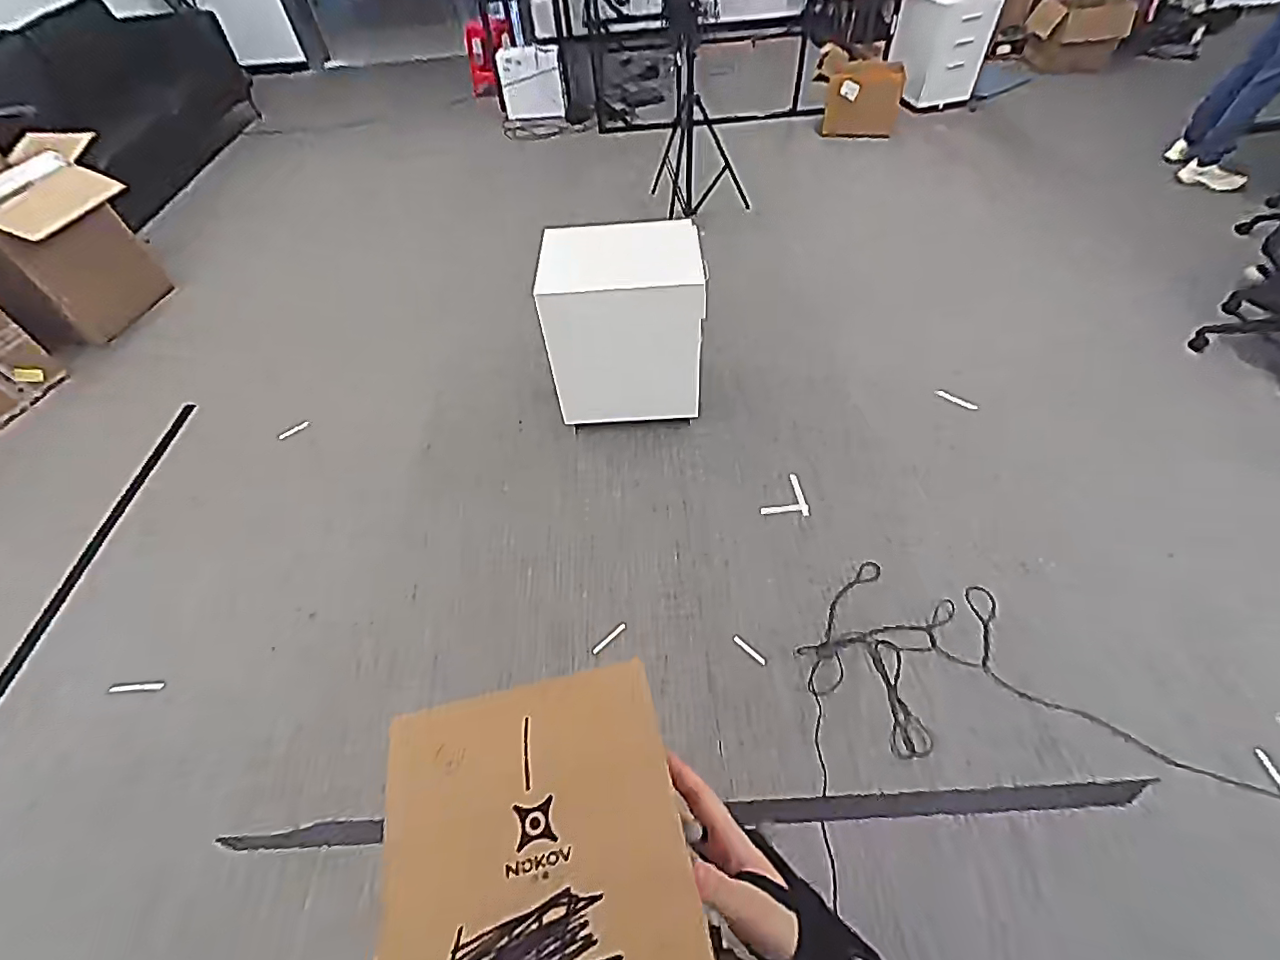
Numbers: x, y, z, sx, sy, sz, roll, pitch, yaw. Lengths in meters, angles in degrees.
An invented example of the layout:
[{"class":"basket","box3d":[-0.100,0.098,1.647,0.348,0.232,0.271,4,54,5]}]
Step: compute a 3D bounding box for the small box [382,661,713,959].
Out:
[{"class":"small box","box3d":[-0.054,0.249,0.362,0.168,0.176,0.179,-11,52,-7]}]
